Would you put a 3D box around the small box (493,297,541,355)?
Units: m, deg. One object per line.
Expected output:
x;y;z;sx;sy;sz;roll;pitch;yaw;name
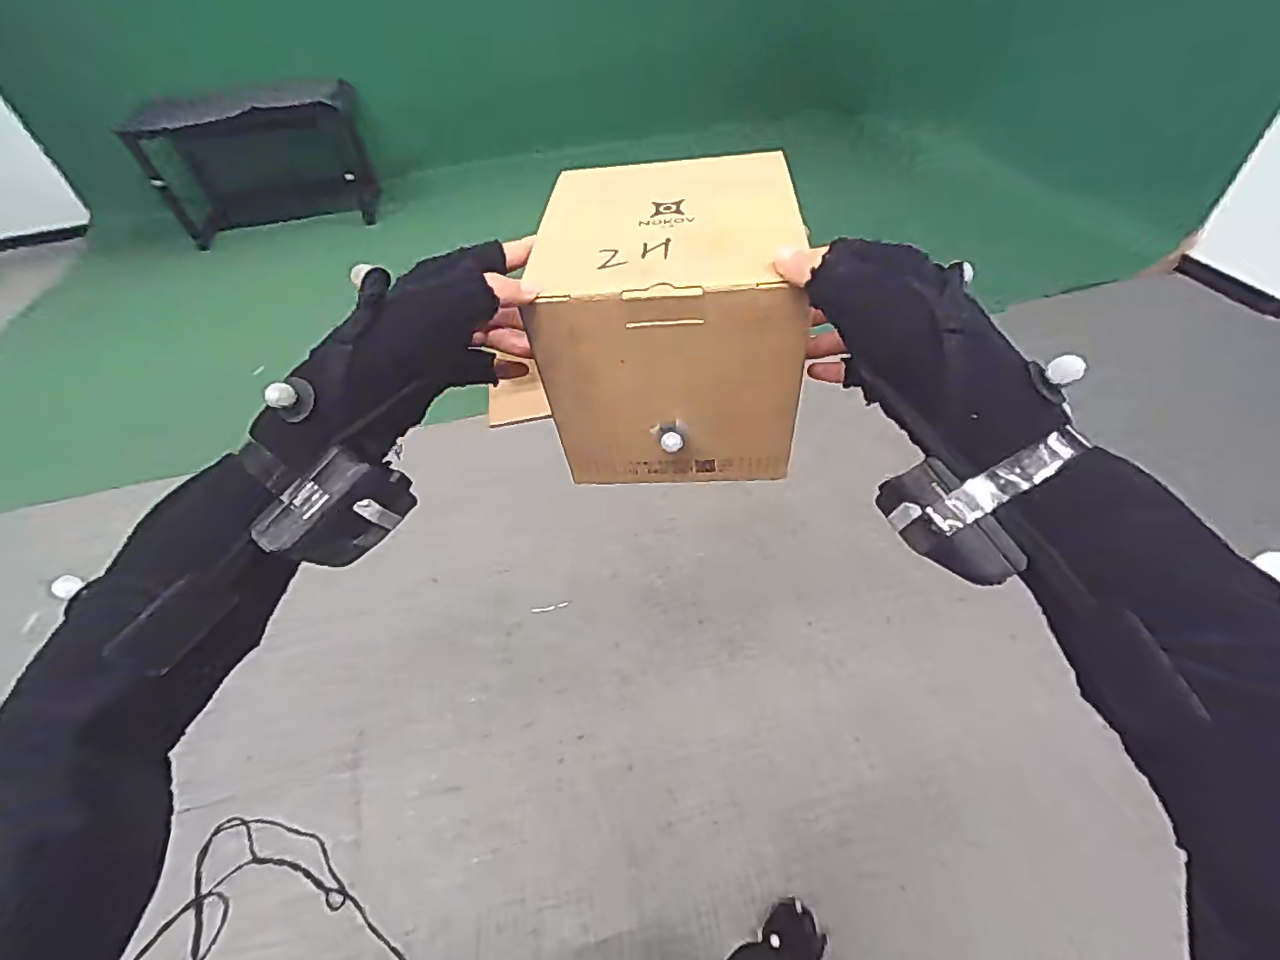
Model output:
-0.524;-0.664;2.326;0.168;0.176;0.179;-9;47;-1;small box

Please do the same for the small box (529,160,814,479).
0.029;-0.119;0.417;0.168;0.176;0.179;-1;50;7;small box

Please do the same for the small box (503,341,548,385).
-0.513;-0.543;2.435;0.168;0.176;0.179;-10;46;-2;small box
